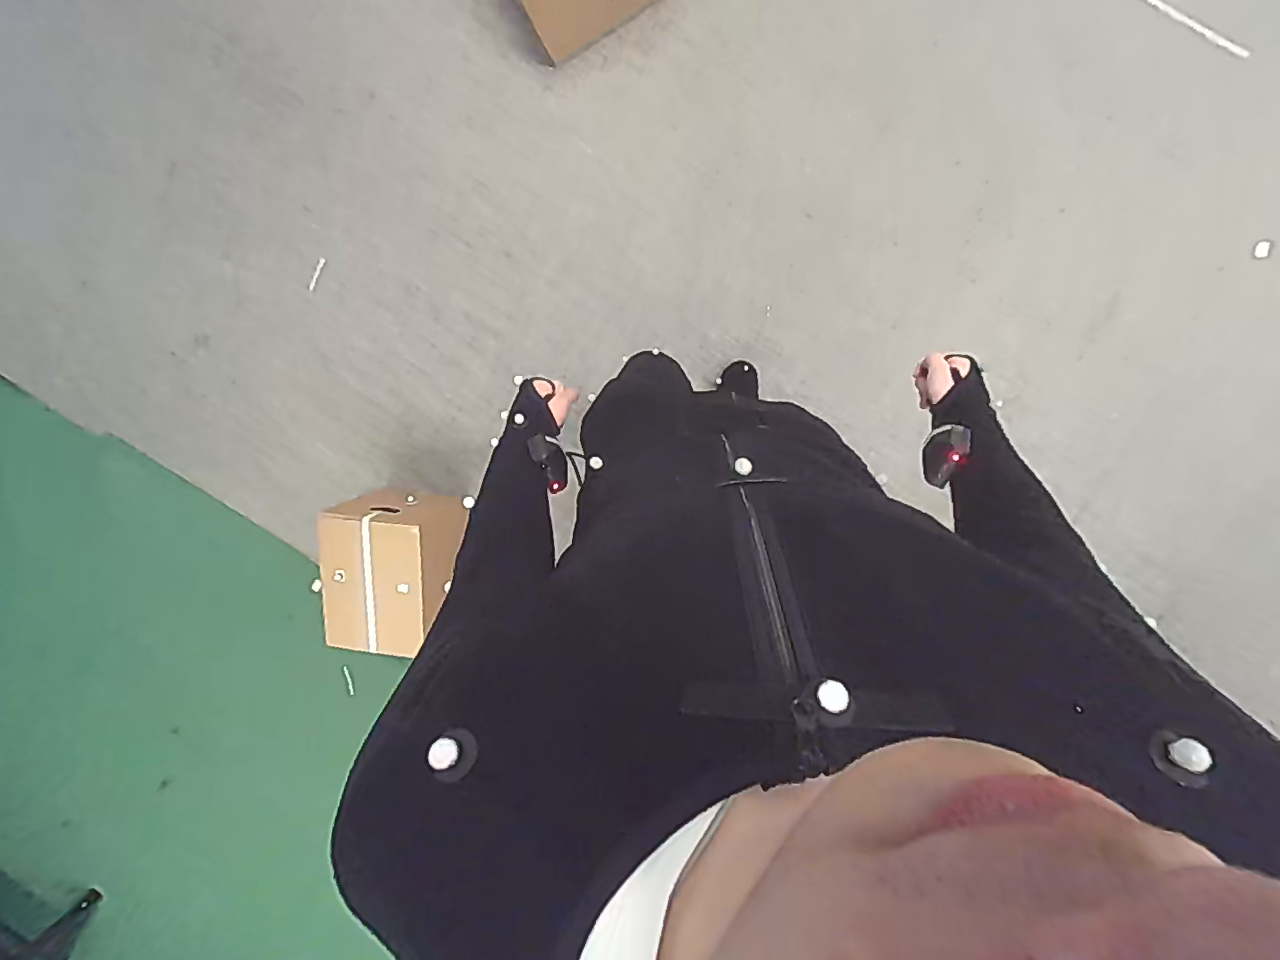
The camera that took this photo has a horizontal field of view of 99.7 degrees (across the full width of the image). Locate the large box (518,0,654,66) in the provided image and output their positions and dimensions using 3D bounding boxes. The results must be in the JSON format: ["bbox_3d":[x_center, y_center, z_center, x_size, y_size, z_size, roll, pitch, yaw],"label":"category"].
[{"bbox_3d":[-0.135,-1.283,1.236,0.408,0.320,0.320,-25,97,13],"label":"large box"}]
